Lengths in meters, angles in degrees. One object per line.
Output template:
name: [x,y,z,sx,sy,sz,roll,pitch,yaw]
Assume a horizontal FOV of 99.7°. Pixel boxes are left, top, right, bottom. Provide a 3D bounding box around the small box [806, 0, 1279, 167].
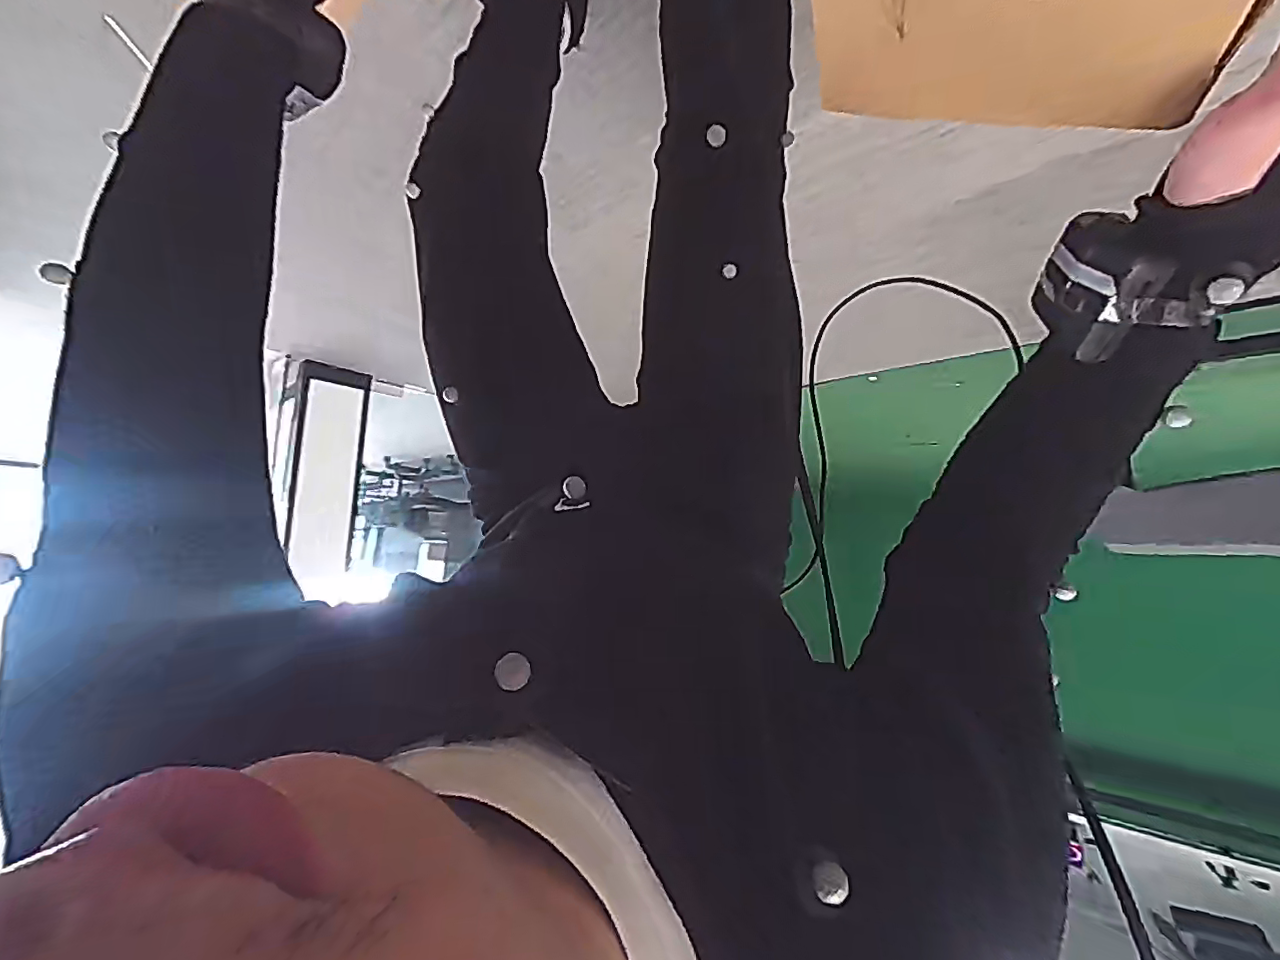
small box: [0.184,-0.272,0.223,0.179,0.176,0.168,25,175,25]
